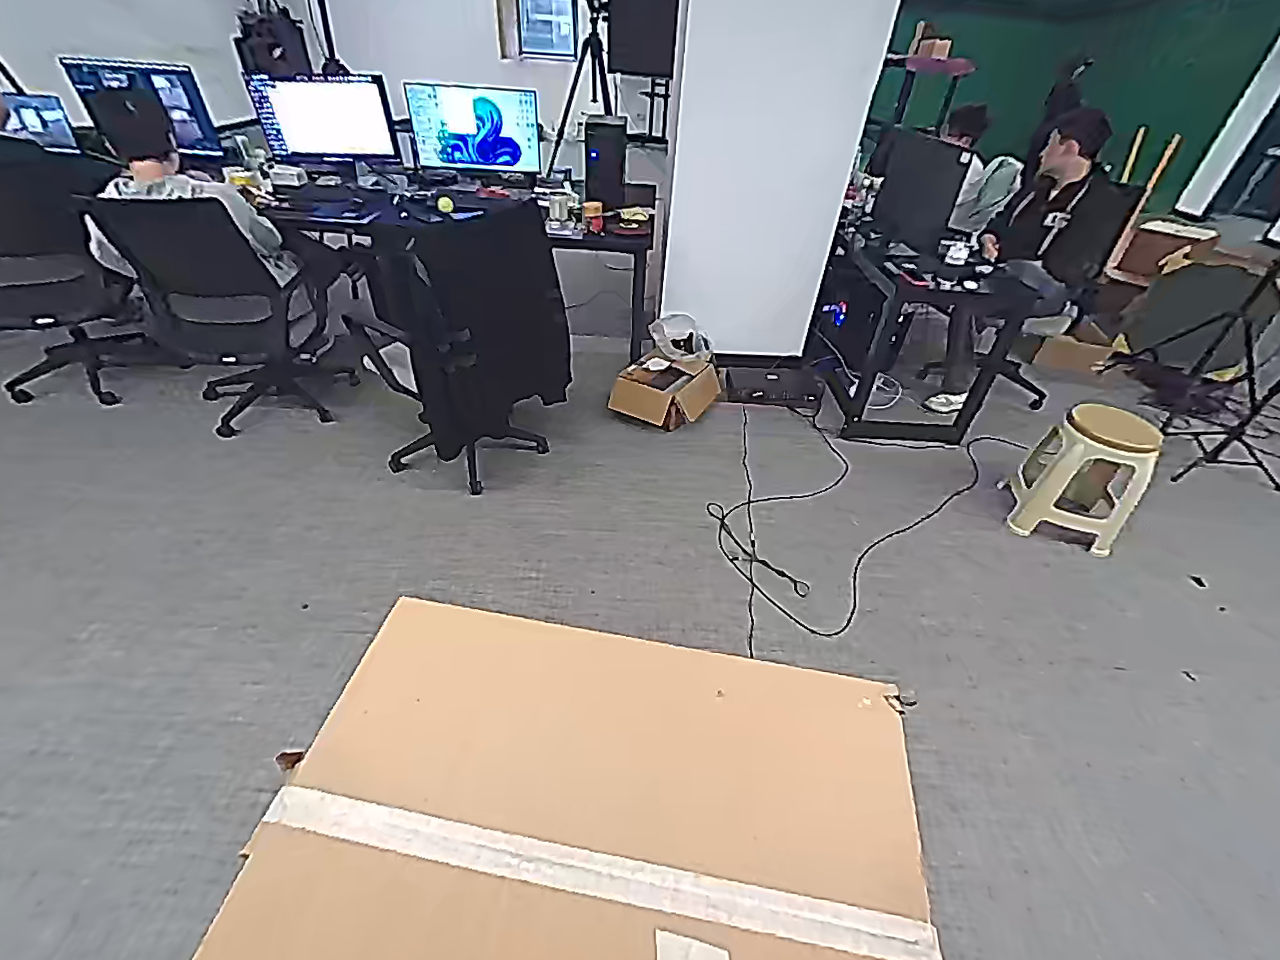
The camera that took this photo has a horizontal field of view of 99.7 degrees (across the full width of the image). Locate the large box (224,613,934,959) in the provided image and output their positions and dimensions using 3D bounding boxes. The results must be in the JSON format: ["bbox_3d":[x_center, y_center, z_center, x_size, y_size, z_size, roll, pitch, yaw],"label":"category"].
[{"bbox_3d":[-0.031,0.348,0.439,0.408,0.320,0.320,9,47,5],"label":"large box"}]
